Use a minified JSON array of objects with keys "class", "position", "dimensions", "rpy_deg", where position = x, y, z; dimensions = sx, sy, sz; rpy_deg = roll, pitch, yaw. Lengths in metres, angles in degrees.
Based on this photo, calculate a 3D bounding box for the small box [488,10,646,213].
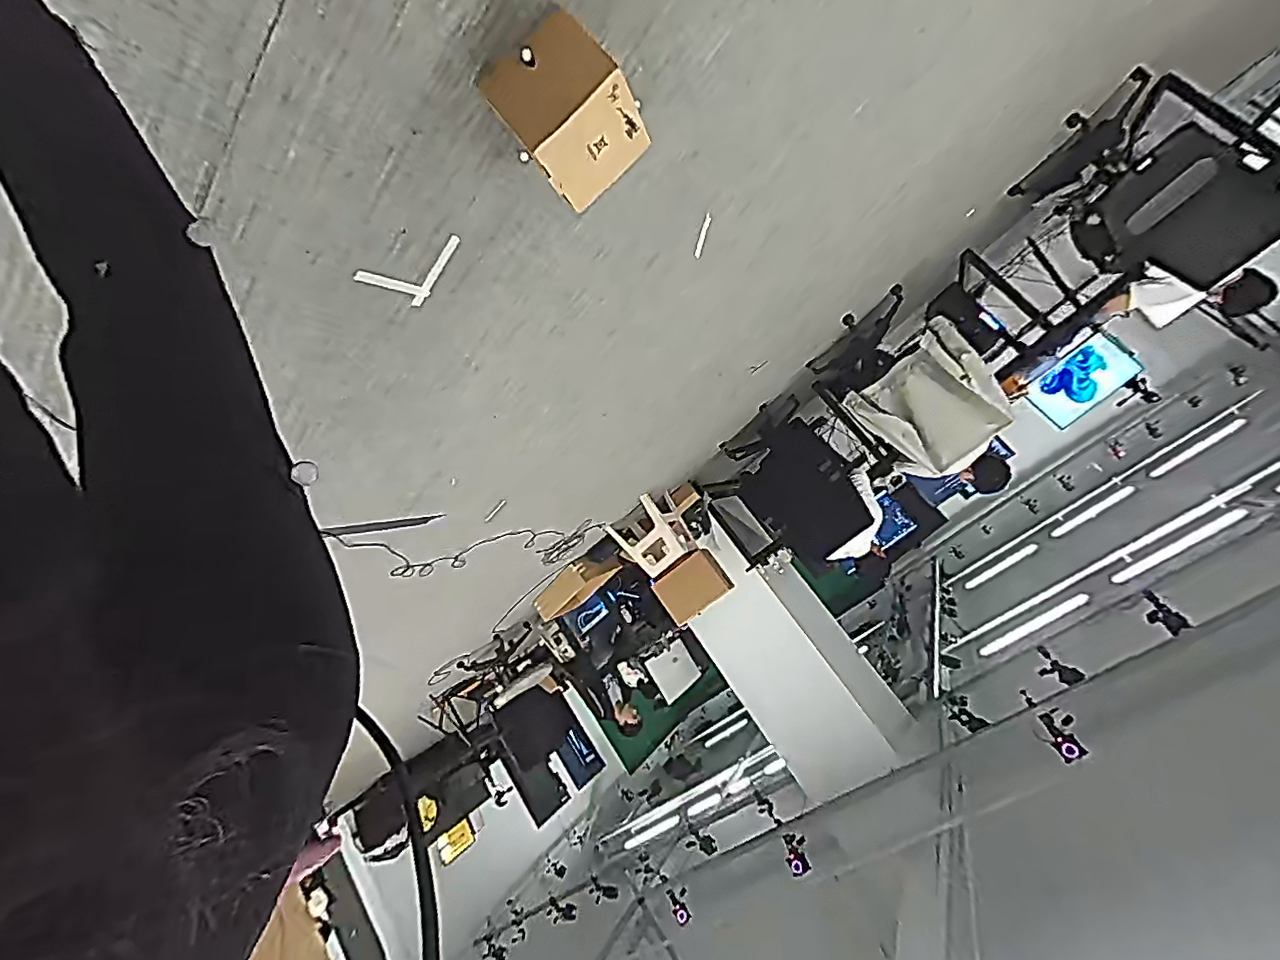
[{"class":"small box","position":[-0.123,-0.593,0.883],"dimensions":[0.179,0.176,0.168],"rpy_deg":[-38,165,9]}]
